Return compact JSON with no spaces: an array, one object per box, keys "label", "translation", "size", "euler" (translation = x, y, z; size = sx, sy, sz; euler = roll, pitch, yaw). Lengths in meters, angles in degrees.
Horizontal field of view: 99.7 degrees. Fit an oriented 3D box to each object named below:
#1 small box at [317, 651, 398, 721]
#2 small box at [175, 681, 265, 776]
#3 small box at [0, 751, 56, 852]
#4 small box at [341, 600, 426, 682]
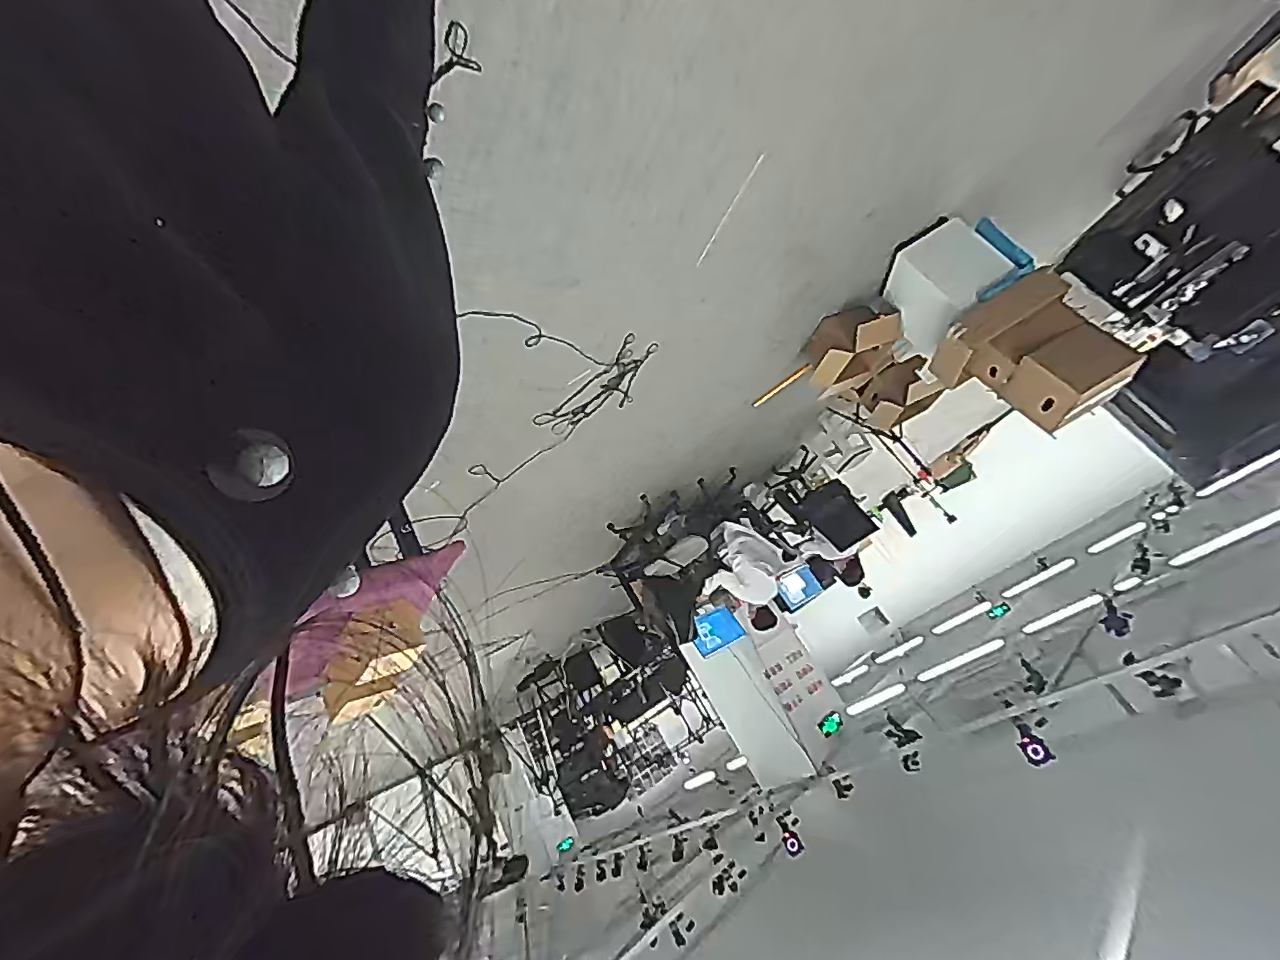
[{"label":"small box","translation":[-0.964,0.681,1.840],"size":[0.179,0.176,0.168],"euler":[0,140,-52]},{"label":"small box","translation":[-1.216,0.715,1.571],"size":[0.179,0.176,0.168],"euler":[-13,149,-42]},{"label":"small box","translation":[-1.520,0.768,1.266],"size":[0.168,0.176,0.179],"euler":[-16,152,-39]},{"label":"small box","translation":[-0.792,0.483,1.657],"size":[0.168,0.176,0.179],"euler":[-5,145,-49]}]
